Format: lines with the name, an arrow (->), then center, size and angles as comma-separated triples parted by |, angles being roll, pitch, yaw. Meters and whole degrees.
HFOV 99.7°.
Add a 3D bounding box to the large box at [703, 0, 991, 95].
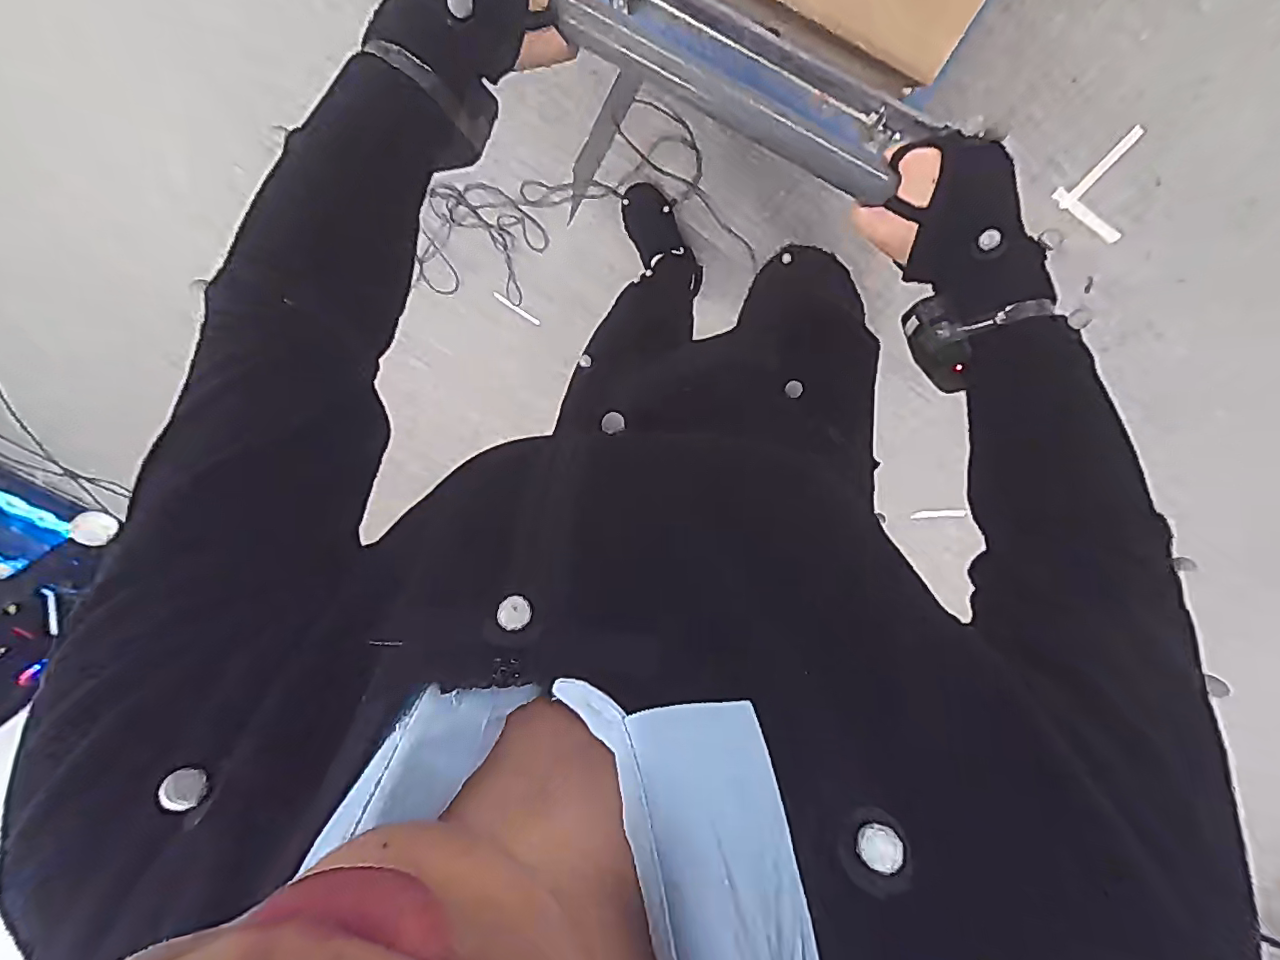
large box -> 0.254, -0.739, 0.664 | 0.408, 0.320, 0.320 | 24, 126, -7
